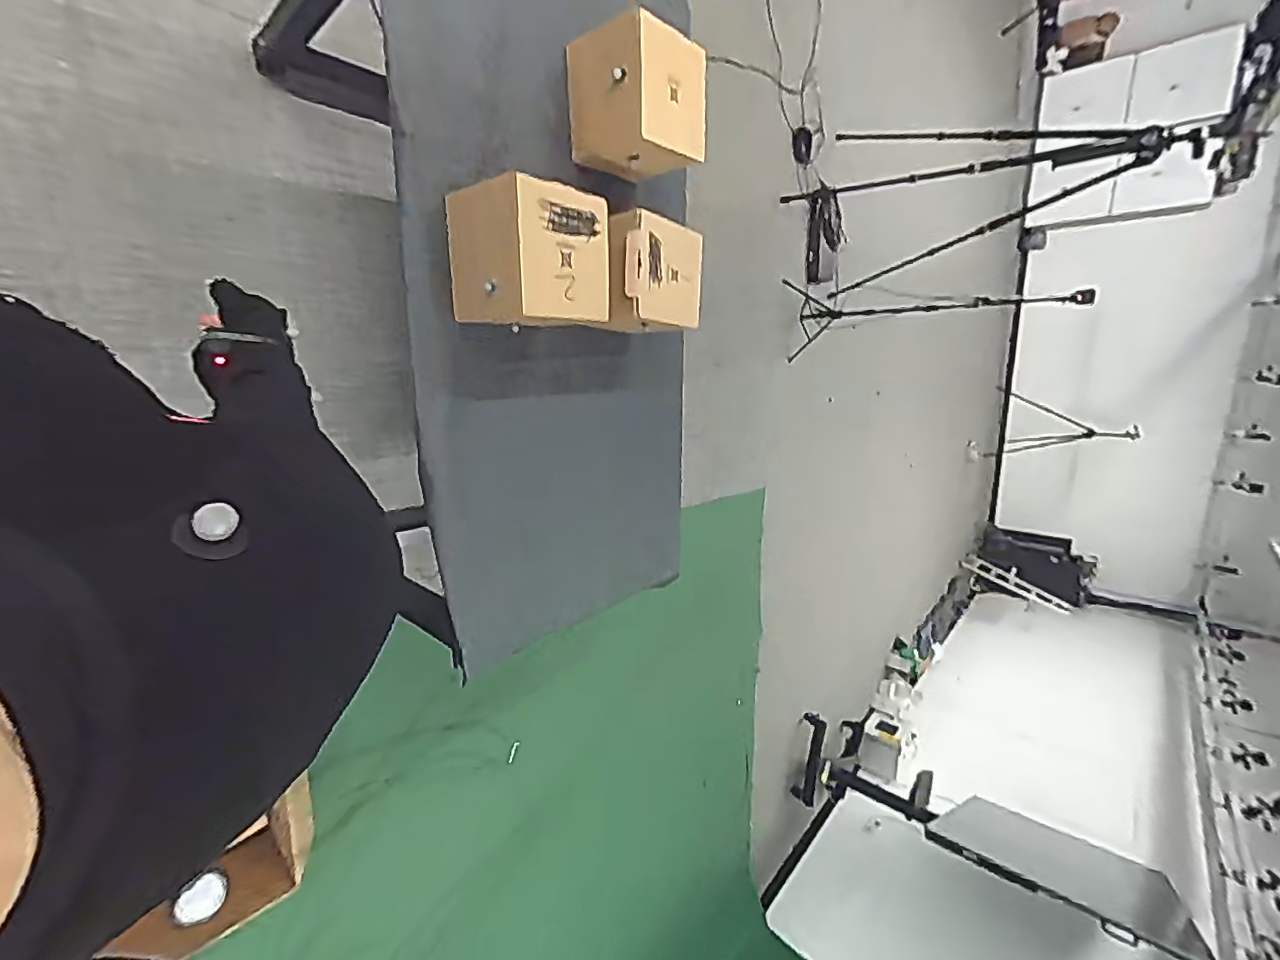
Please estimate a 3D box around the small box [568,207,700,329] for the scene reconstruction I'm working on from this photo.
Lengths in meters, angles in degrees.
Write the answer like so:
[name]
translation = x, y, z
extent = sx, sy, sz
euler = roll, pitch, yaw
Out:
[small box]
translation = -0.014, -0.366, 0.971
extent = 0.179, 0.176, 0.168
euler = -8, 104, -49
